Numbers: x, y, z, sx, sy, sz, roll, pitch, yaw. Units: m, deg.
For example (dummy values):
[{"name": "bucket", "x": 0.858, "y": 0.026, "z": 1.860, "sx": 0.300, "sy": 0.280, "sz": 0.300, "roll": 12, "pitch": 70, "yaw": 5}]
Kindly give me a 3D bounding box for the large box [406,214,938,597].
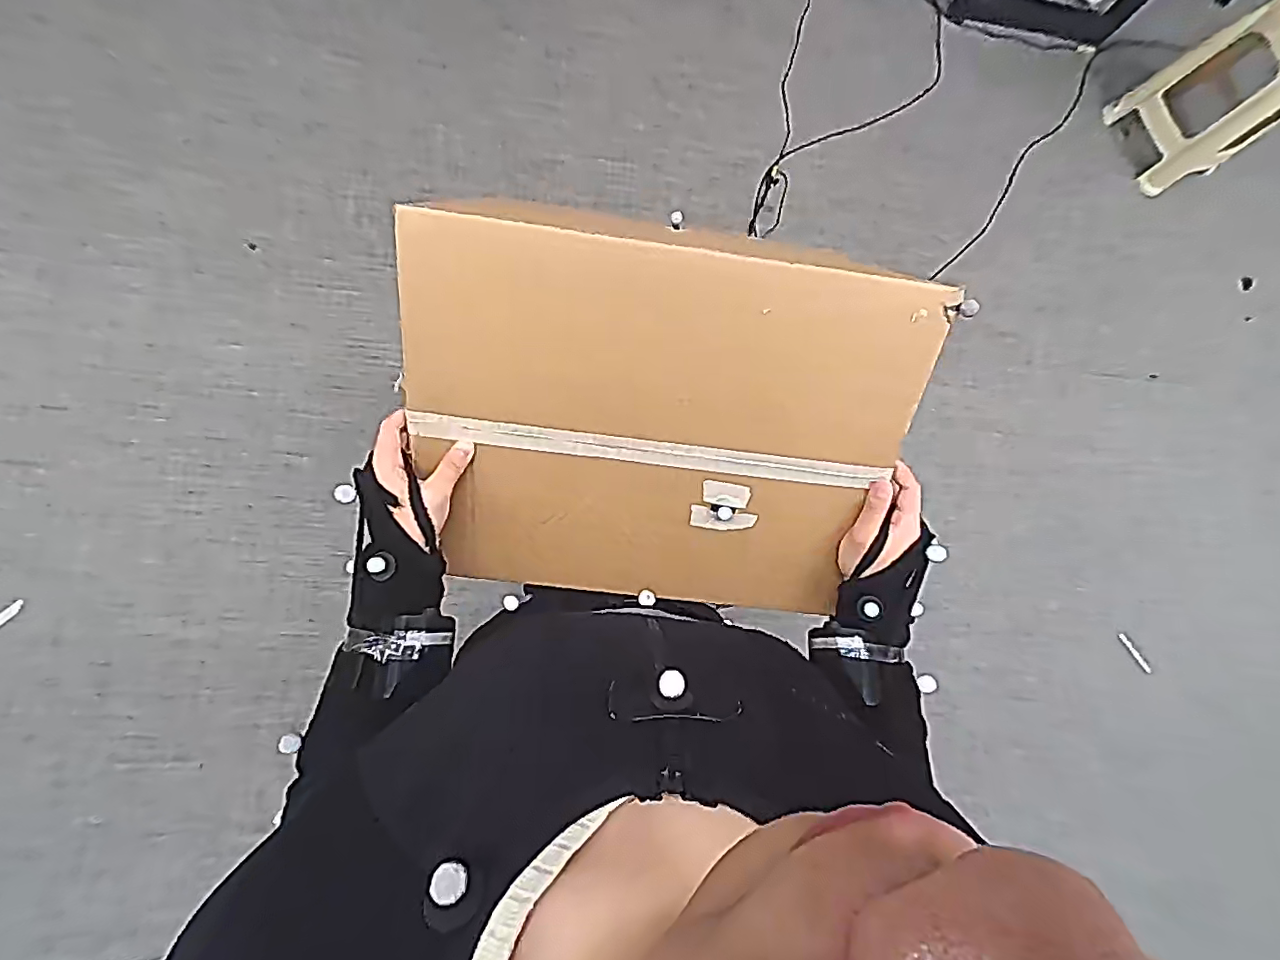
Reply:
[{"name": "large box", "x": 0.009, "y": -0.100, "z": 0.595, "sx": 0.408, "sy": 0.320, "sz": 0.320, "roll": 6, "pitch": 119, "yaw": -5}]
